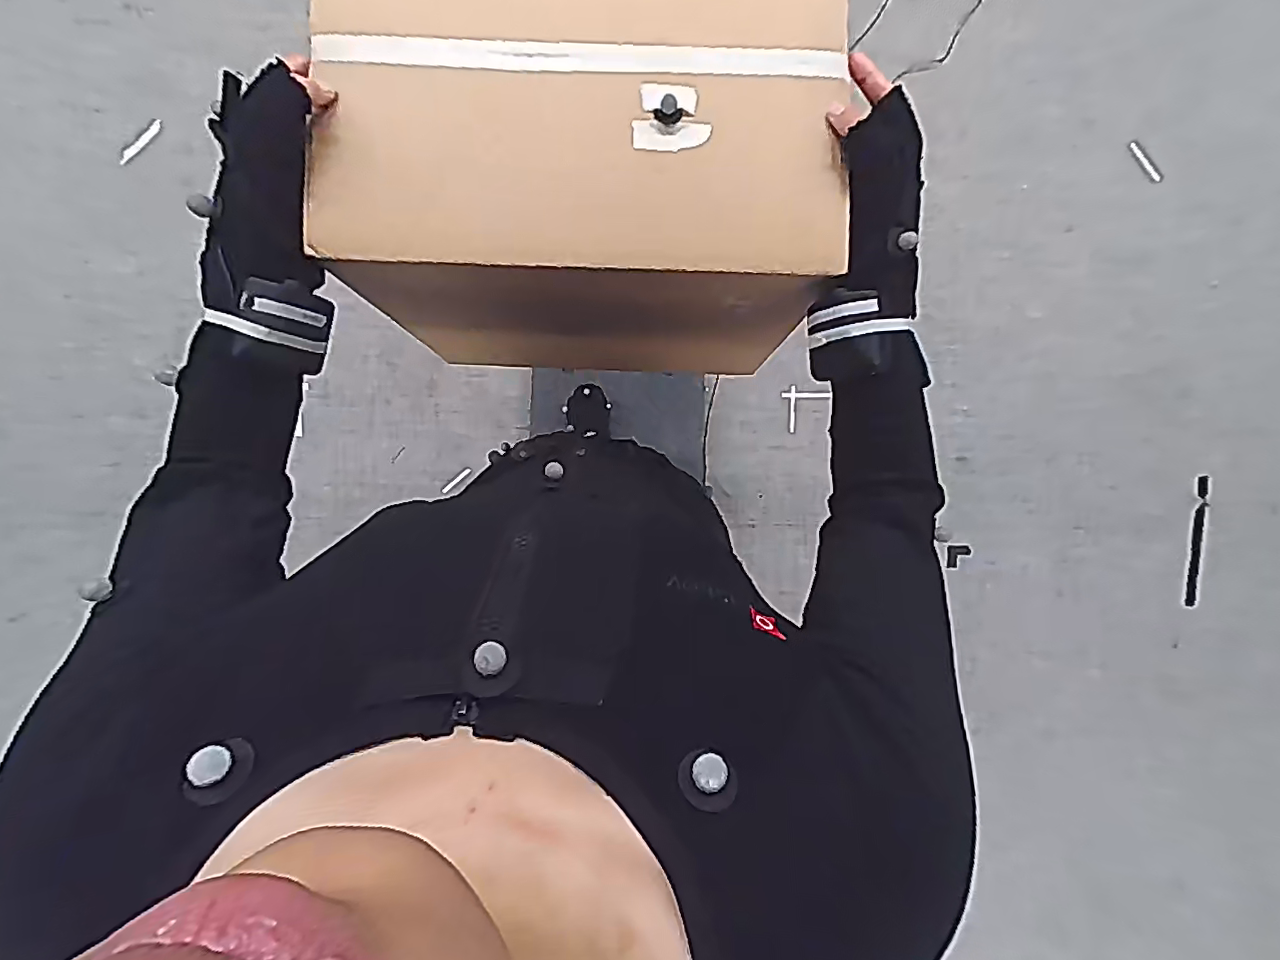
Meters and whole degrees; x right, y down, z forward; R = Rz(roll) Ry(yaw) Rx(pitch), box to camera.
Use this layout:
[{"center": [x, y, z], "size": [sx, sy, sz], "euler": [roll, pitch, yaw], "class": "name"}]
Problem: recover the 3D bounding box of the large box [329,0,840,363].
[{"center": [-0.044, -0.316, 0.575], "size": [0.408, 0.320, 0.320], "euler": [2, 88, -1], "class": "large box"}]
